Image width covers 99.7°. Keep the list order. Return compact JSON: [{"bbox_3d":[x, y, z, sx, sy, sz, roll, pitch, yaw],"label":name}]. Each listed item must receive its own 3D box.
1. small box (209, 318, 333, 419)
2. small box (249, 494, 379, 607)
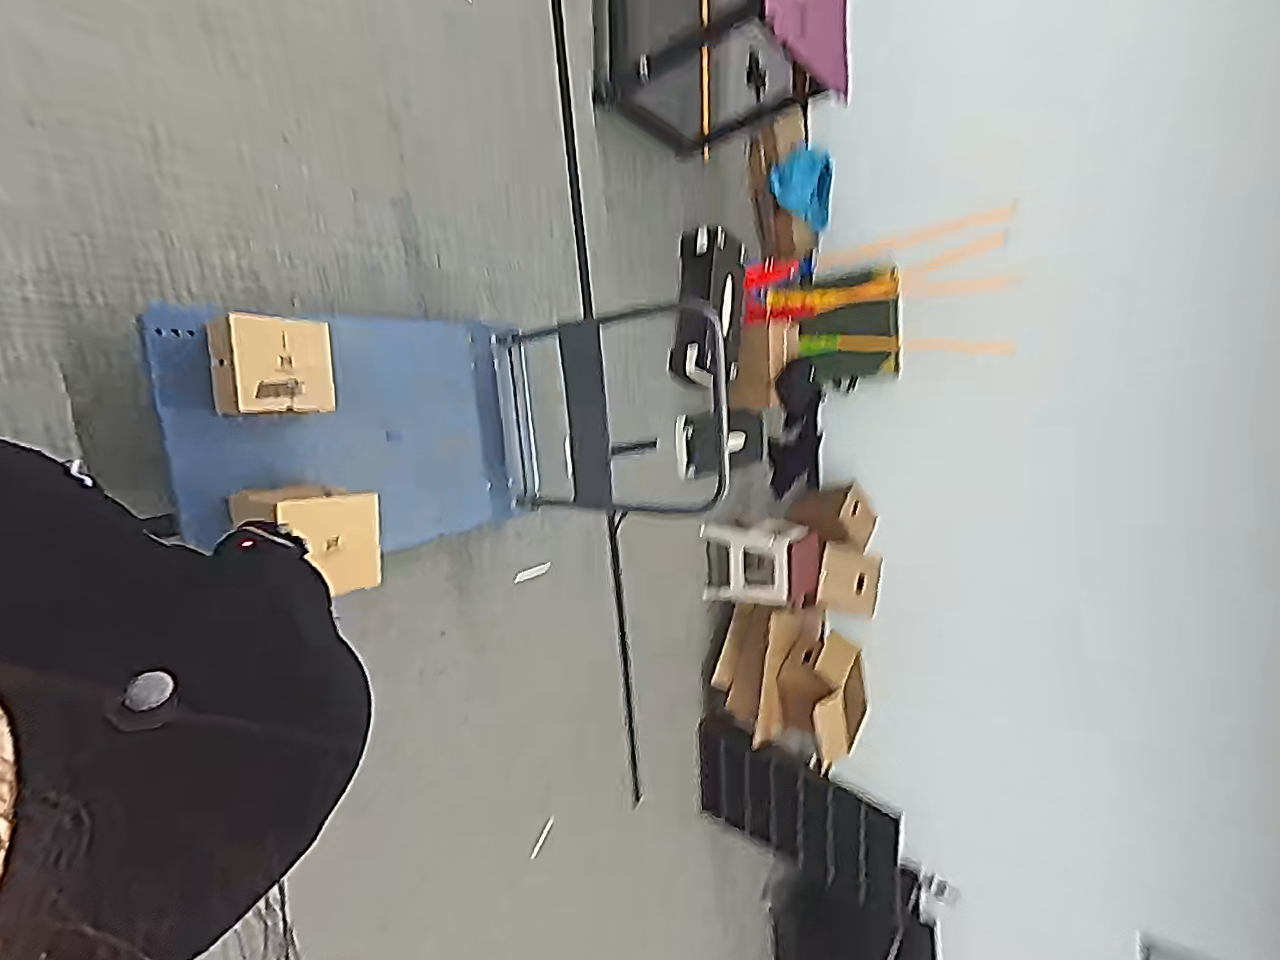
[{"bbox_3d":[-0.739,-0.213,1.083,0.168,0.176,0.179,-8,98,-49],"label":"small box"},{"bbox_3d":[-0.609,0.120,1.009,0.168,0.176,0.179,-5,98,-50],"label":"small box"}]
